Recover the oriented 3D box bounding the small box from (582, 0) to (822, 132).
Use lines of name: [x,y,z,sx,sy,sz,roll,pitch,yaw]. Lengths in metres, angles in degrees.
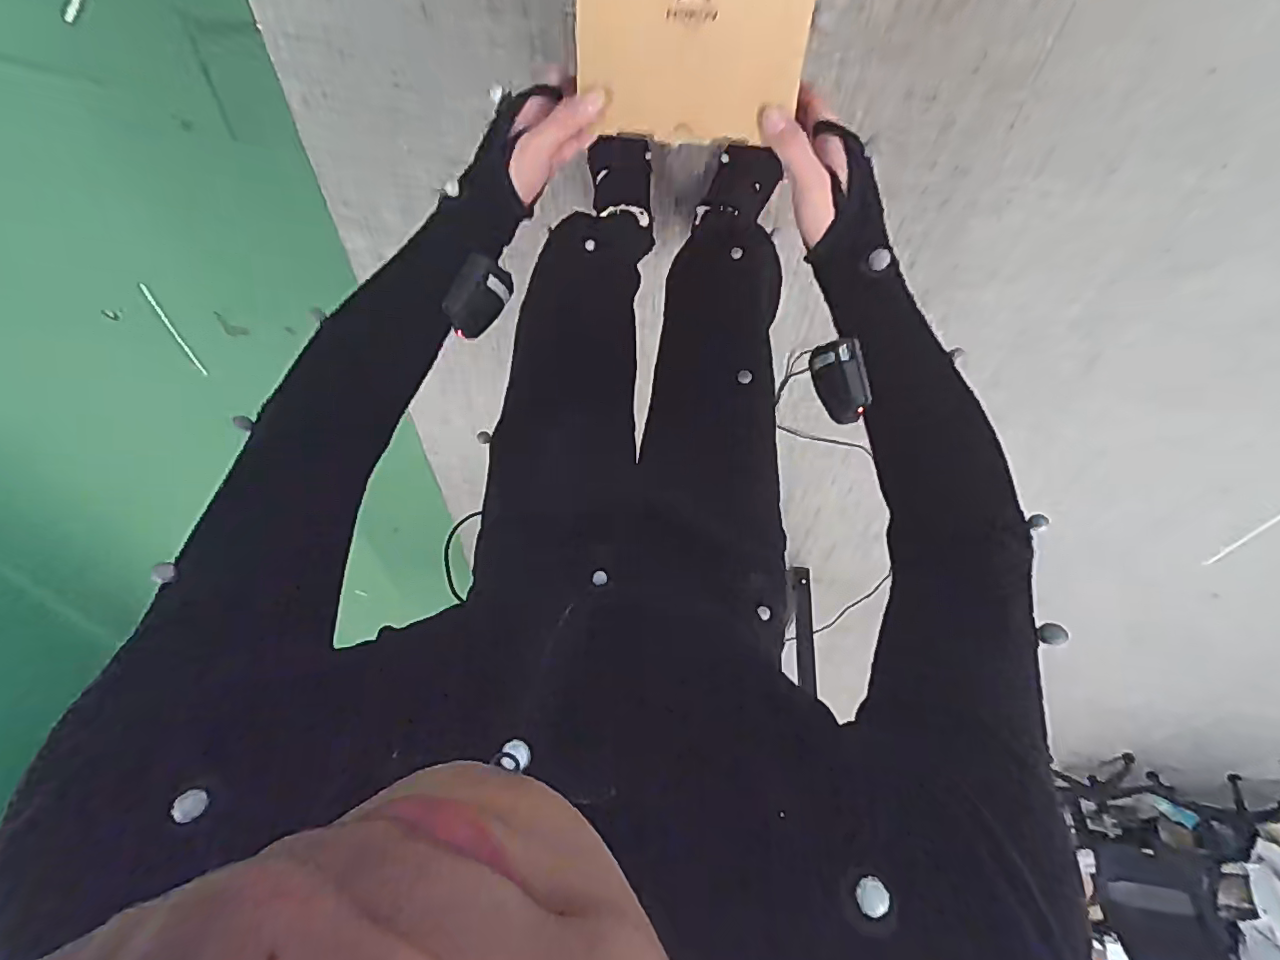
small box: [0.050,-0.388,0.426,0.168,0.176,0.179,6,126,3]
